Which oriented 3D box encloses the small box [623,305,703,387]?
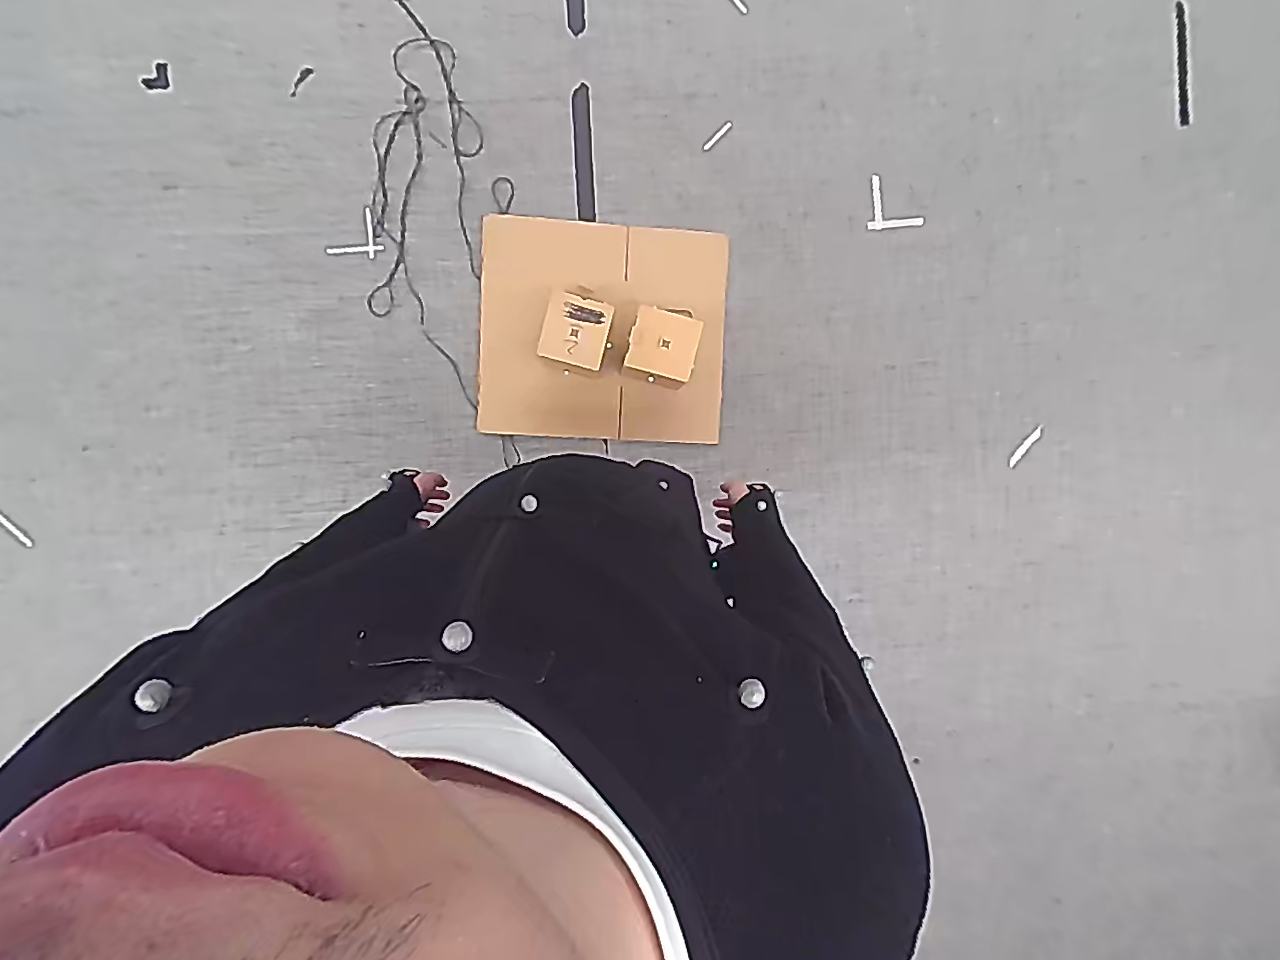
[{"bbox_3d":[0.058,-0.361,1.494,0.179,0.176,0.168,14,91,-4],"label":"small box"}]
